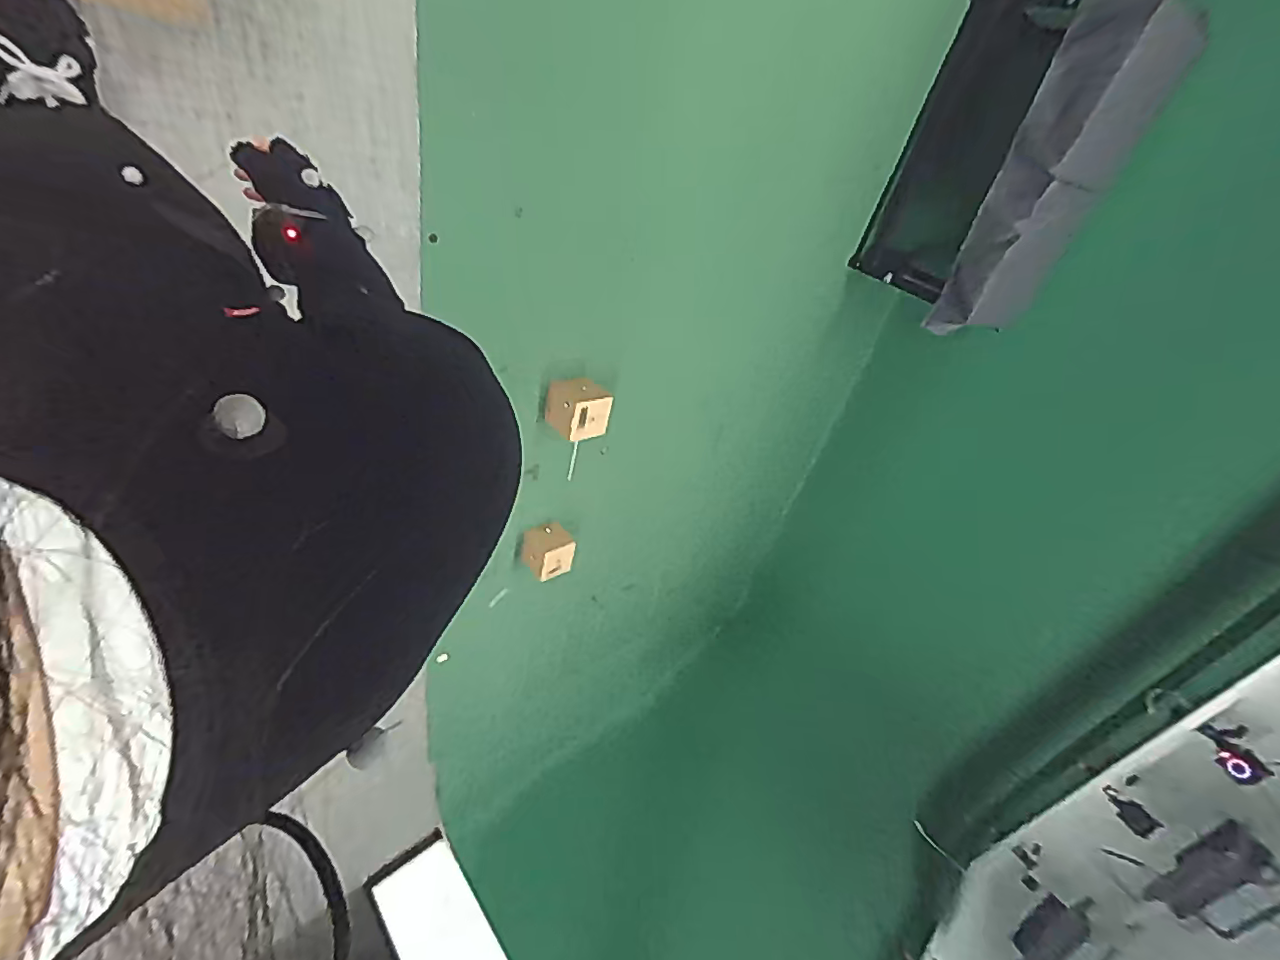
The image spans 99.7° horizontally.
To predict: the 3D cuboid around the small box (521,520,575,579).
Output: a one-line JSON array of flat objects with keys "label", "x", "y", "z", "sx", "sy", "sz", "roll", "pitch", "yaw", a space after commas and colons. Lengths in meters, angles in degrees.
[{"label": "small box", "x": -0.421, "y": 0.310, "z": 2.444, "sx": 0.168, "sy": 0.176, "sz": 0.179, "roll": -18, "pitch": 137, "yaw": -40}]
